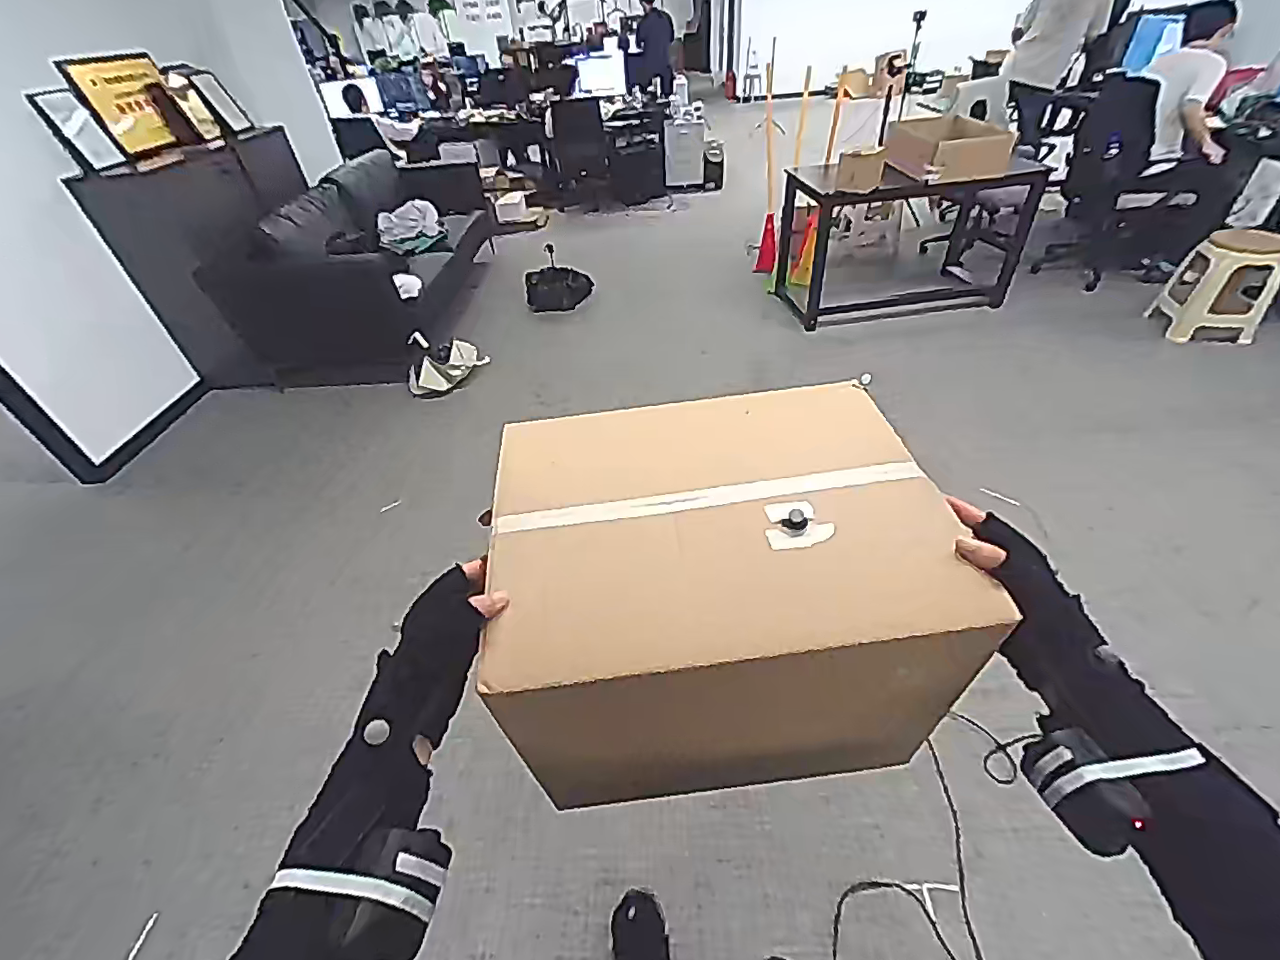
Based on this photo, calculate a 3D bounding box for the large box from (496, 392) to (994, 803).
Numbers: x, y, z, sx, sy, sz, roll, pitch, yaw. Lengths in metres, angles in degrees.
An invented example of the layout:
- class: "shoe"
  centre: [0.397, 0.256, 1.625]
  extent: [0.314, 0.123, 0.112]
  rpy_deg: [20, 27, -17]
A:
- class: "large box"
  centre: [0.075, 0.132, 0.624]
  extent: [0.408, 0.320, 0.320]
  rpy_deg: [-7, 45, -2]
